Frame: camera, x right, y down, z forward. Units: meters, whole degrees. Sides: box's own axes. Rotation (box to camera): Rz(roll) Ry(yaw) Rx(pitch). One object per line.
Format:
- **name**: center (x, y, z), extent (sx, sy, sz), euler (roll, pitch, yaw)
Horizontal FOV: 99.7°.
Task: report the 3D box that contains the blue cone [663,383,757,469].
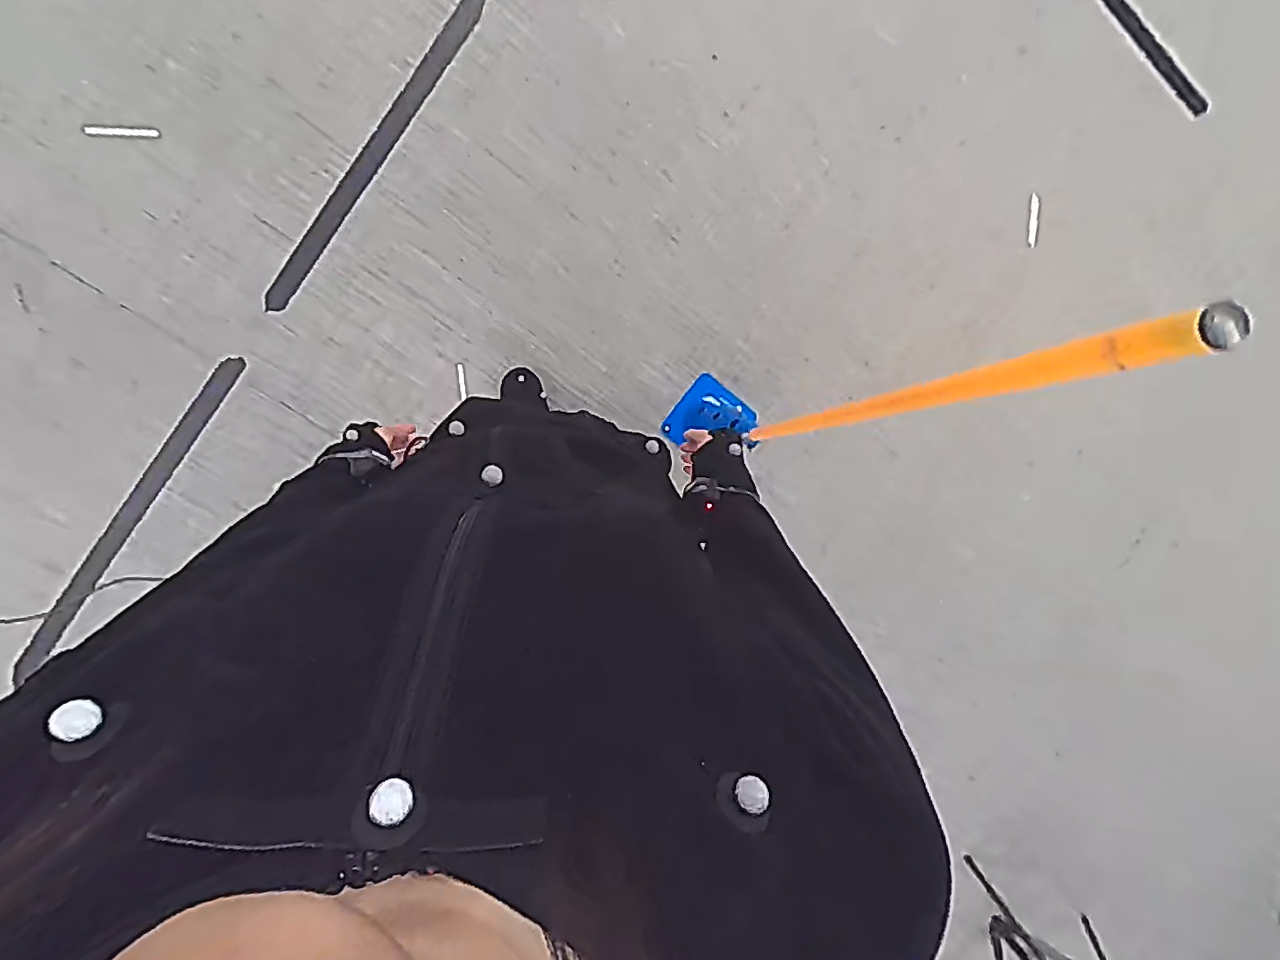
- **blue cone**: center (0.202, -0.112, 1.277), extent (0.193, 0.380, 0.192), euler (39, 94, -13)
